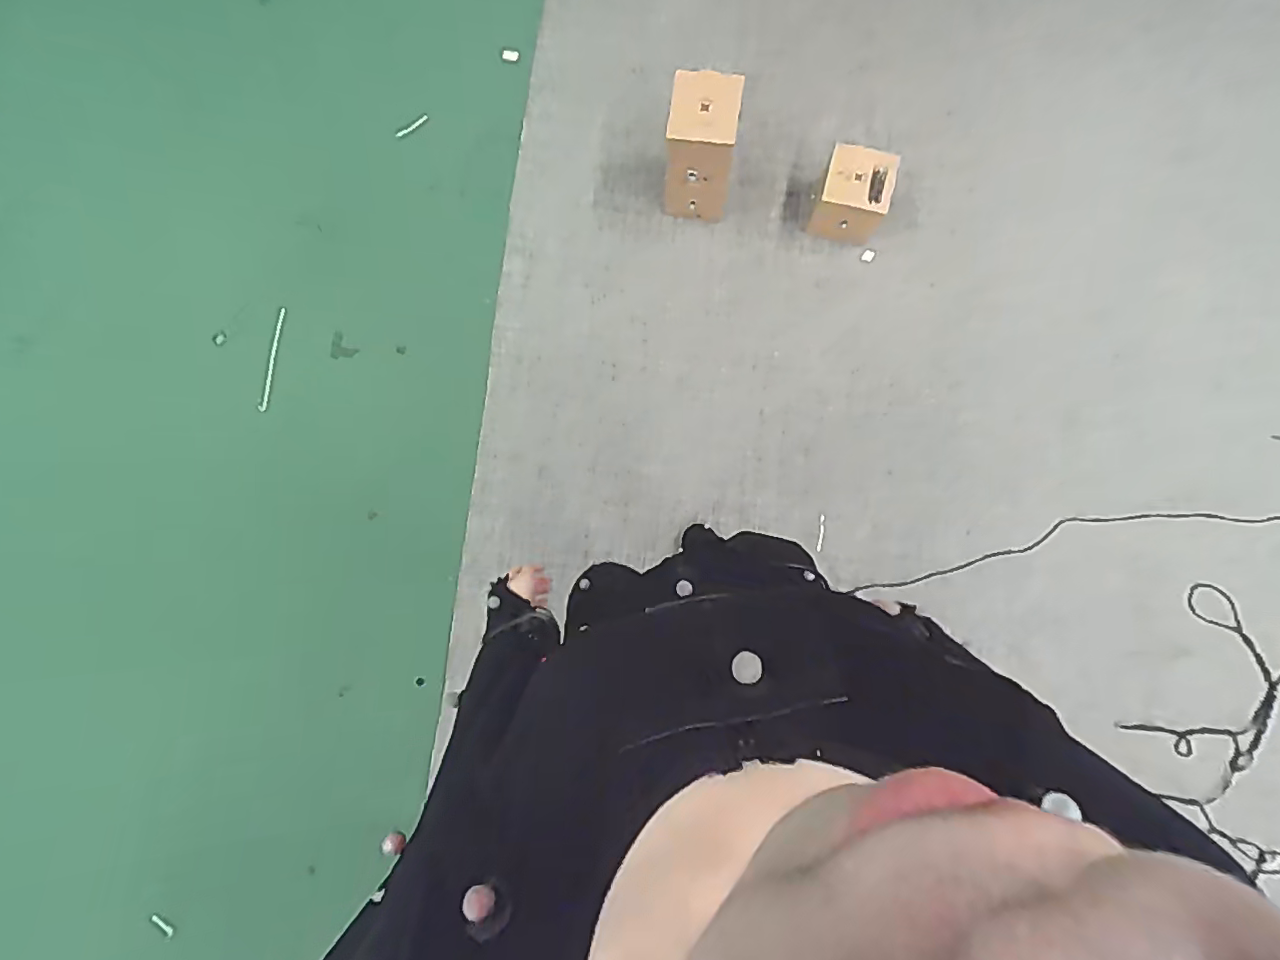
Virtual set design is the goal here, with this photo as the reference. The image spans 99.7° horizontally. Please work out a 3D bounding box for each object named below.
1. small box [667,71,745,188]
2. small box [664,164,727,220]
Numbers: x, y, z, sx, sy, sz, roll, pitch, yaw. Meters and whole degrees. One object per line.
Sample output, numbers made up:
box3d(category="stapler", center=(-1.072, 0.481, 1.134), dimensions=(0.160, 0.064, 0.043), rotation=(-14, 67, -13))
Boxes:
box3d(category="small box", center=(0.161, -0.870, 1.352), dimensions=(0.168, 0.176, 0.179), rotation=(8, 87, 5))
box3d(category="small box", center=(0.166, -0.859, 1.515), dimensions=(0.168, 0.176, 0.179), rotation=(11, 87, 4))
